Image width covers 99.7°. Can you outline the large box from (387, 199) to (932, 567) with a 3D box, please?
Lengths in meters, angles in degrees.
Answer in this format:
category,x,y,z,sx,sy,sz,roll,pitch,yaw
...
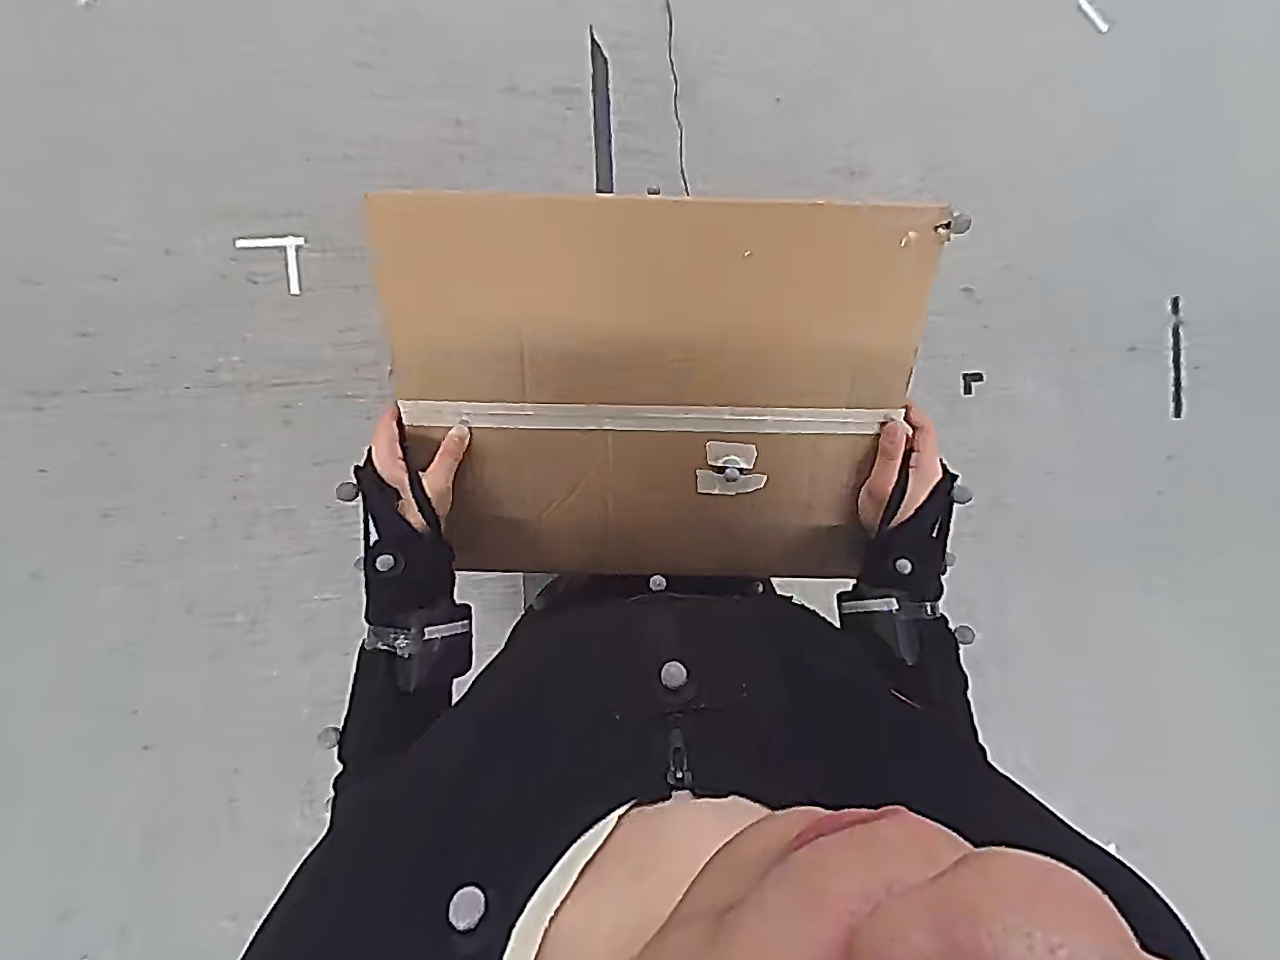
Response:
category,x,y,z,sx,sy,sz,roll,pitch,yaw
large box,0.010,-0.120,0.586,0.408,0.320,0.320,1,116,-2
